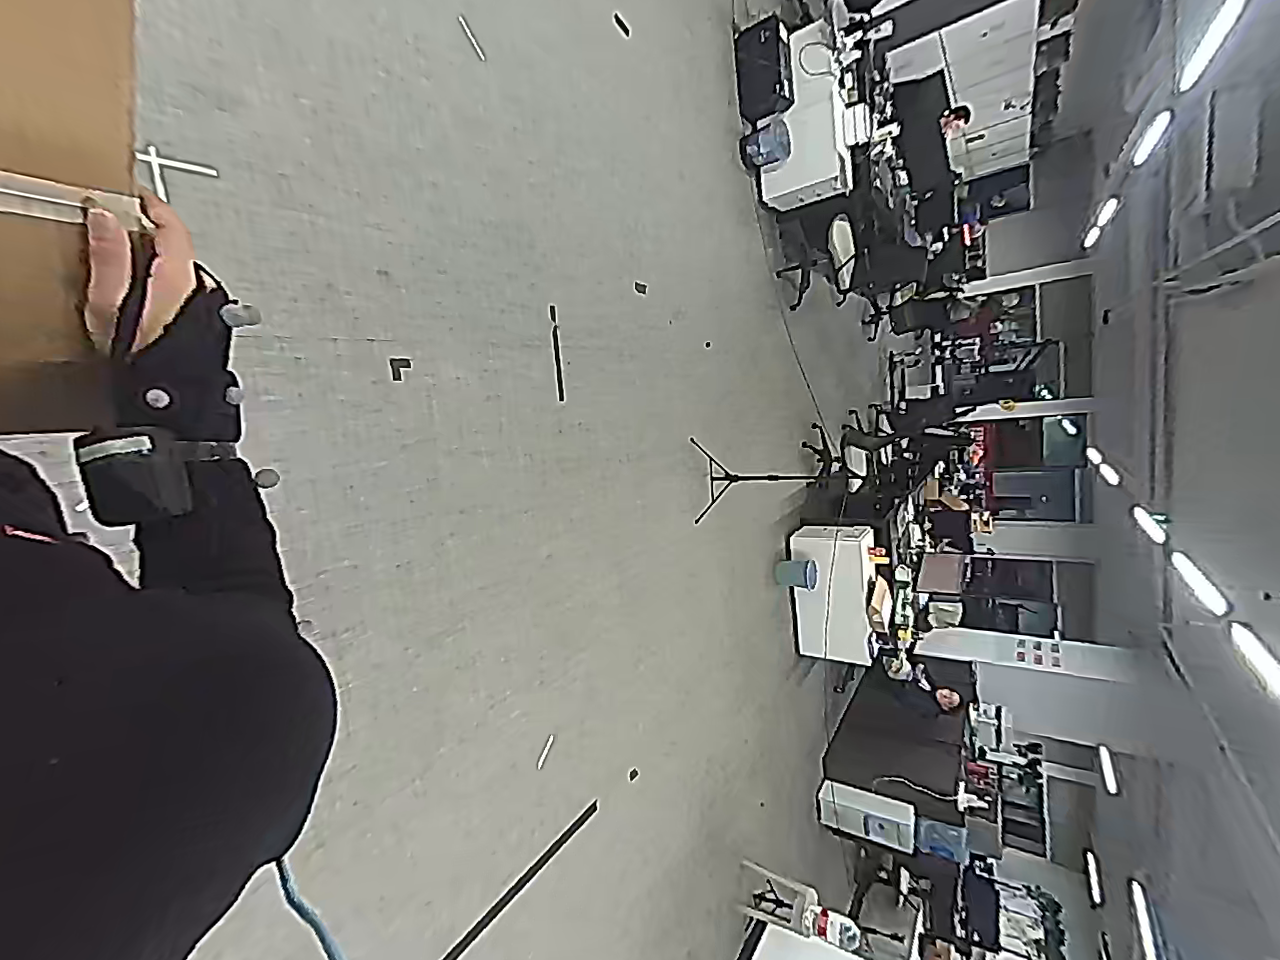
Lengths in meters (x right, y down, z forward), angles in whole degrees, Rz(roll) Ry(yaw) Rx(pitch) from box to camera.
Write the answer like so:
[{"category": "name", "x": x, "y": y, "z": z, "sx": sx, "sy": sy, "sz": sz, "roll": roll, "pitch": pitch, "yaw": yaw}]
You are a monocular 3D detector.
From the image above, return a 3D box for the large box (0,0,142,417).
[{"category": "large box", "x": -0.552, "y": -0.229, "z": 0.255, "sx": 0.408, "sy": 0.320, "sz": 0.320, "roll": -14, "pitch": 137, "yaw": -53}]
